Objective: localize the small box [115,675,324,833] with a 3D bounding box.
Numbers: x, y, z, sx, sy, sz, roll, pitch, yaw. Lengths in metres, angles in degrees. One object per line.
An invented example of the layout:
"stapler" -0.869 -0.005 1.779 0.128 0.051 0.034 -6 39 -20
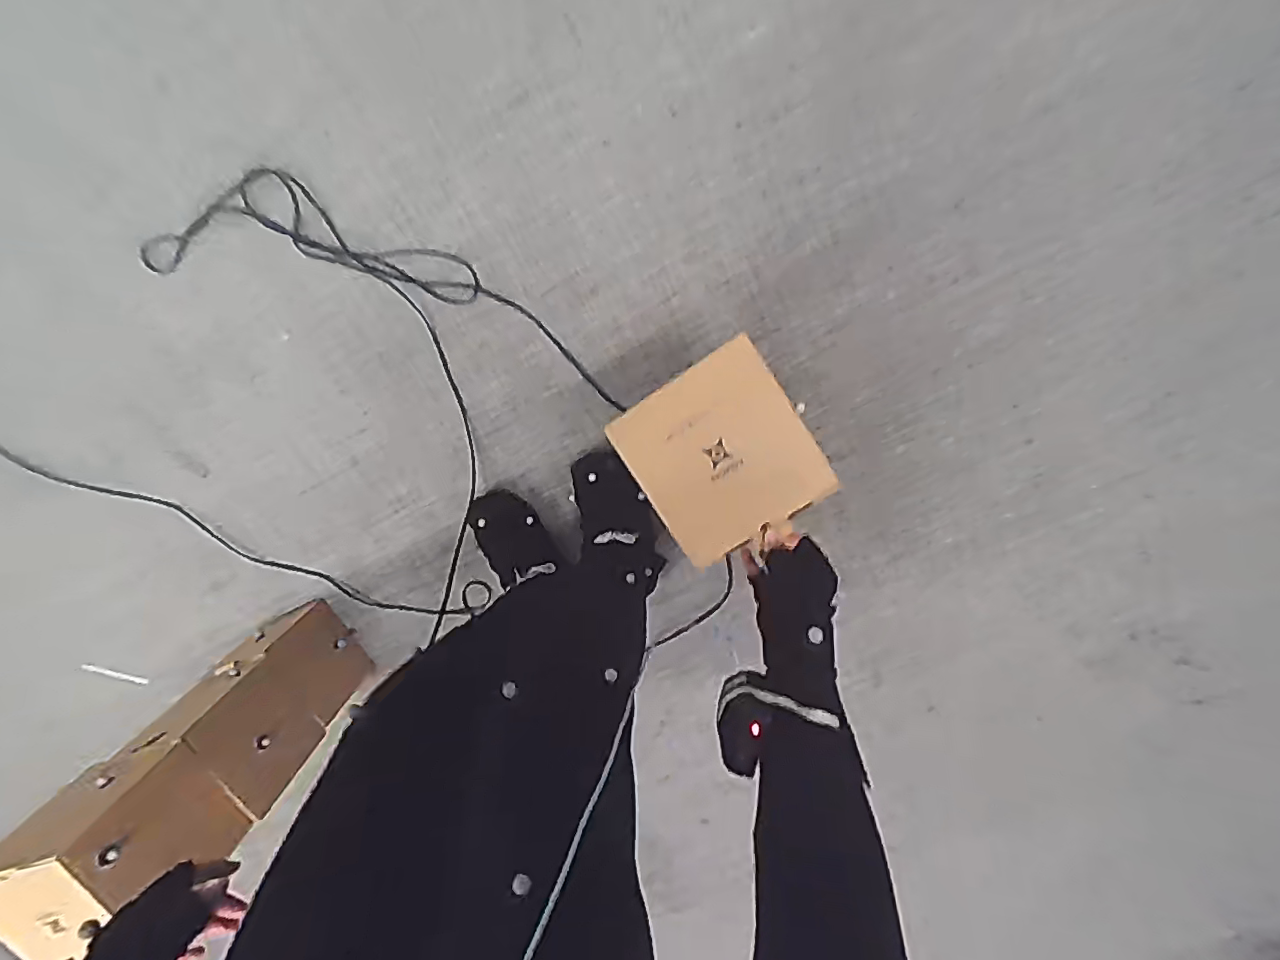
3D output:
"small box" -0.652 0.434 0.849 0.168 0.176 0.179 -24 107 10

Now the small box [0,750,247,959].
"small box" -0.668 0.490 0.697 0.168 0.176 0.179 -19 107 9

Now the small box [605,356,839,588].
"small box" 0.088 -0.016 0.596 0.168 0.176 0.179 -32 92 11

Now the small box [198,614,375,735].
"small box" -0.643 0.373 1.004 0.168 0.176 0.179 -26 105 14
